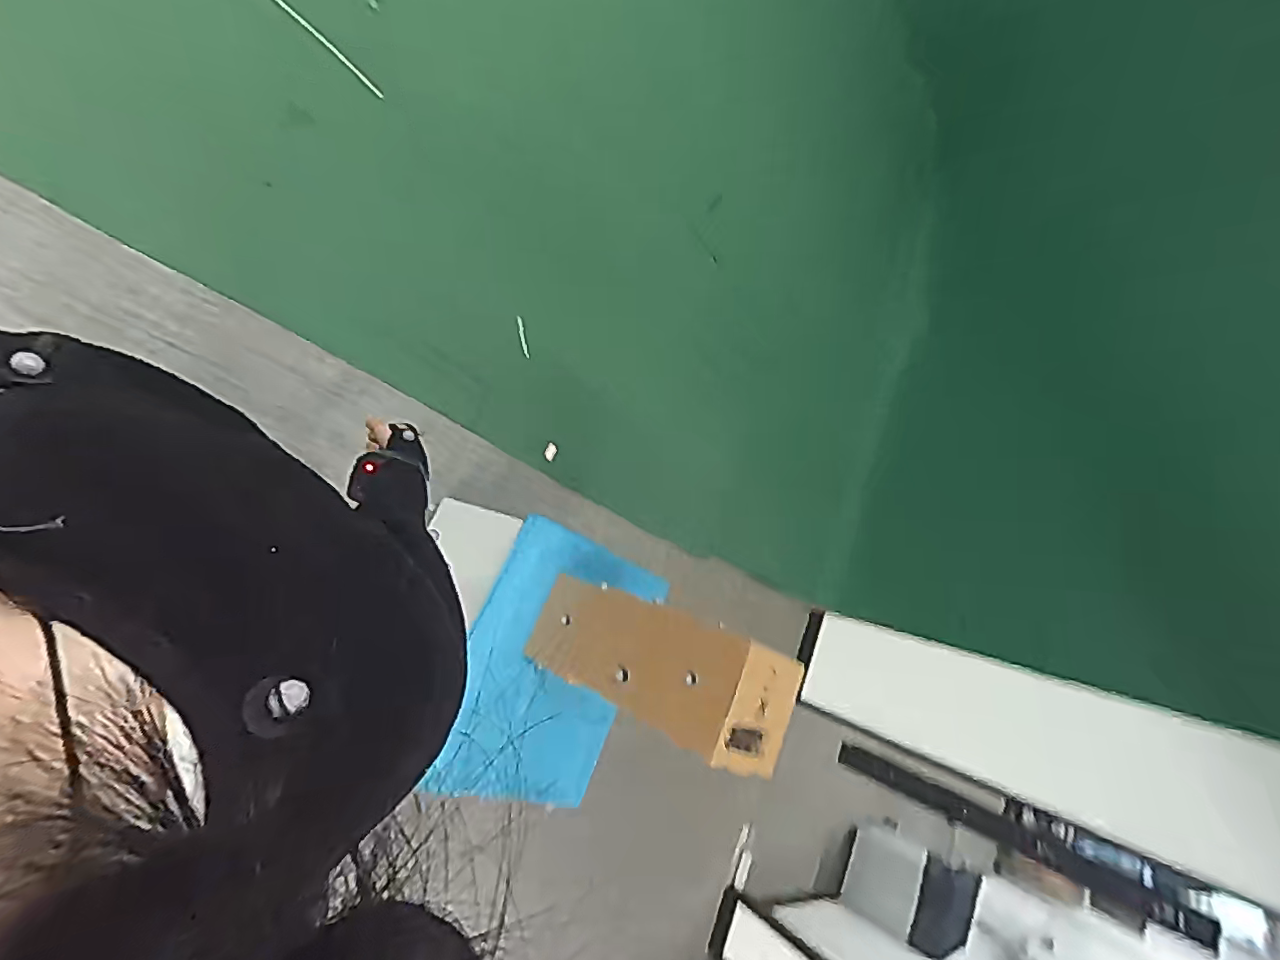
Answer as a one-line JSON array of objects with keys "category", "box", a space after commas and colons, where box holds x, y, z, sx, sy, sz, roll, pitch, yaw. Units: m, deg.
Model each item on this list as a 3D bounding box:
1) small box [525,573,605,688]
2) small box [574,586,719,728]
[{"category": "small box", "box": [-0.106, 0.308, 1.093, 0.168, 0.176, 0.179, 35, 71, -39]}, {"category": "small box", "box": [0.006, 0.313, 0.973, 0.168, 0.176, 0.179, 35, 72, -40]}]
